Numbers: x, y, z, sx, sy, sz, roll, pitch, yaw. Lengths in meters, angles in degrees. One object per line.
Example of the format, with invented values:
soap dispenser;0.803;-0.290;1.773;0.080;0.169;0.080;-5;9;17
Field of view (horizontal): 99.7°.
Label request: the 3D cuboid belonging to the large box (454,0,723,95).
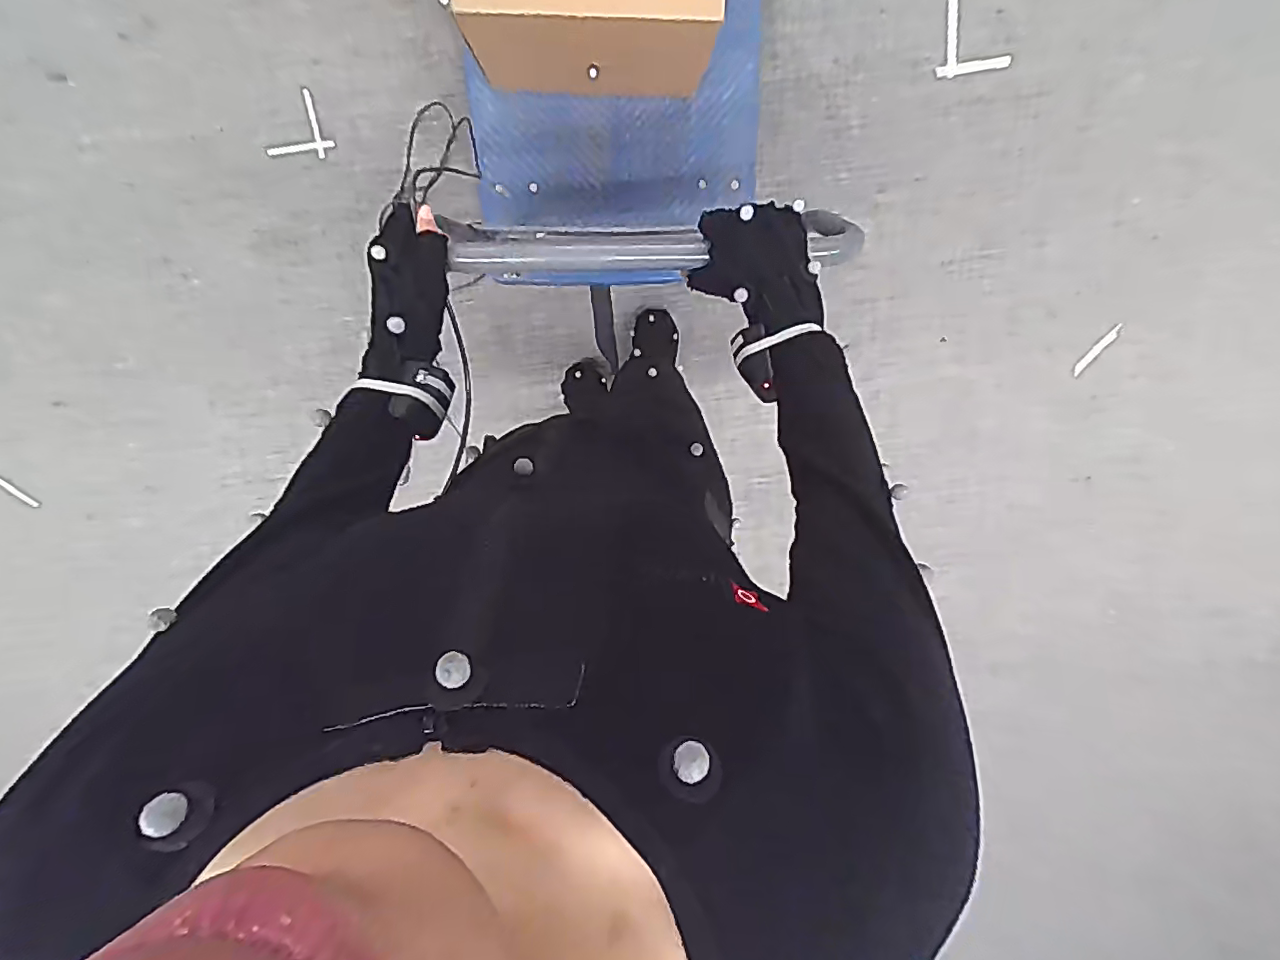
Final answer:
large box;-0.079;-0.870;0.899;0.408;0.320;0.320;0;107;-2
